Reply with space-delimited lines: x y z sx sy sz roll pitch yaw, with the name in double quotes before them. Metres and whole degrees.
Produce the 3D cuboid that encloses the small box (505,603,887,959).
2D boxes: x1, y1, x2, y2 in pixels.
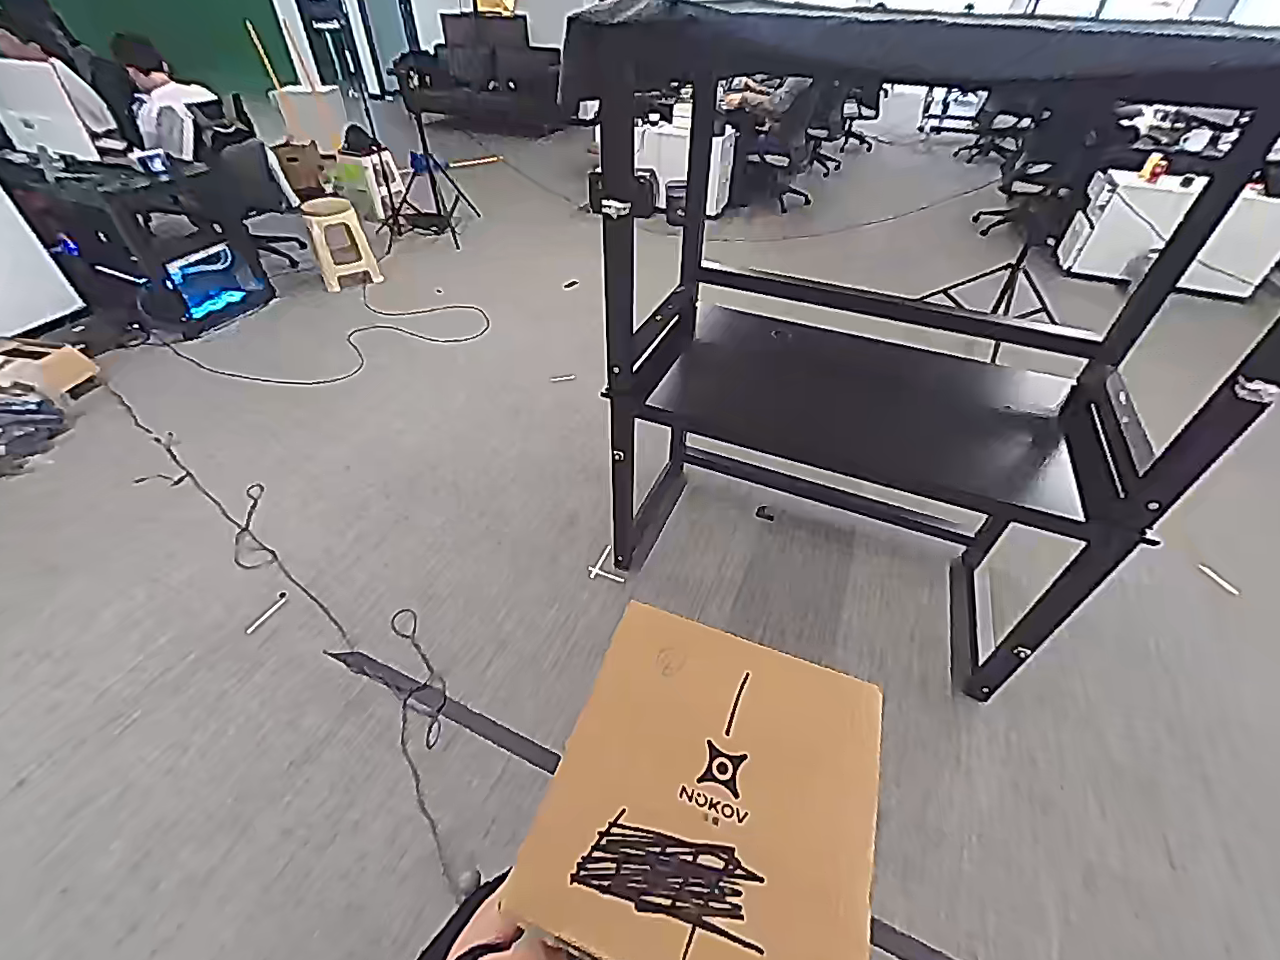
"small box" 0.039 0.216 0.345 0.168 0.176 0.179 17 48 12
